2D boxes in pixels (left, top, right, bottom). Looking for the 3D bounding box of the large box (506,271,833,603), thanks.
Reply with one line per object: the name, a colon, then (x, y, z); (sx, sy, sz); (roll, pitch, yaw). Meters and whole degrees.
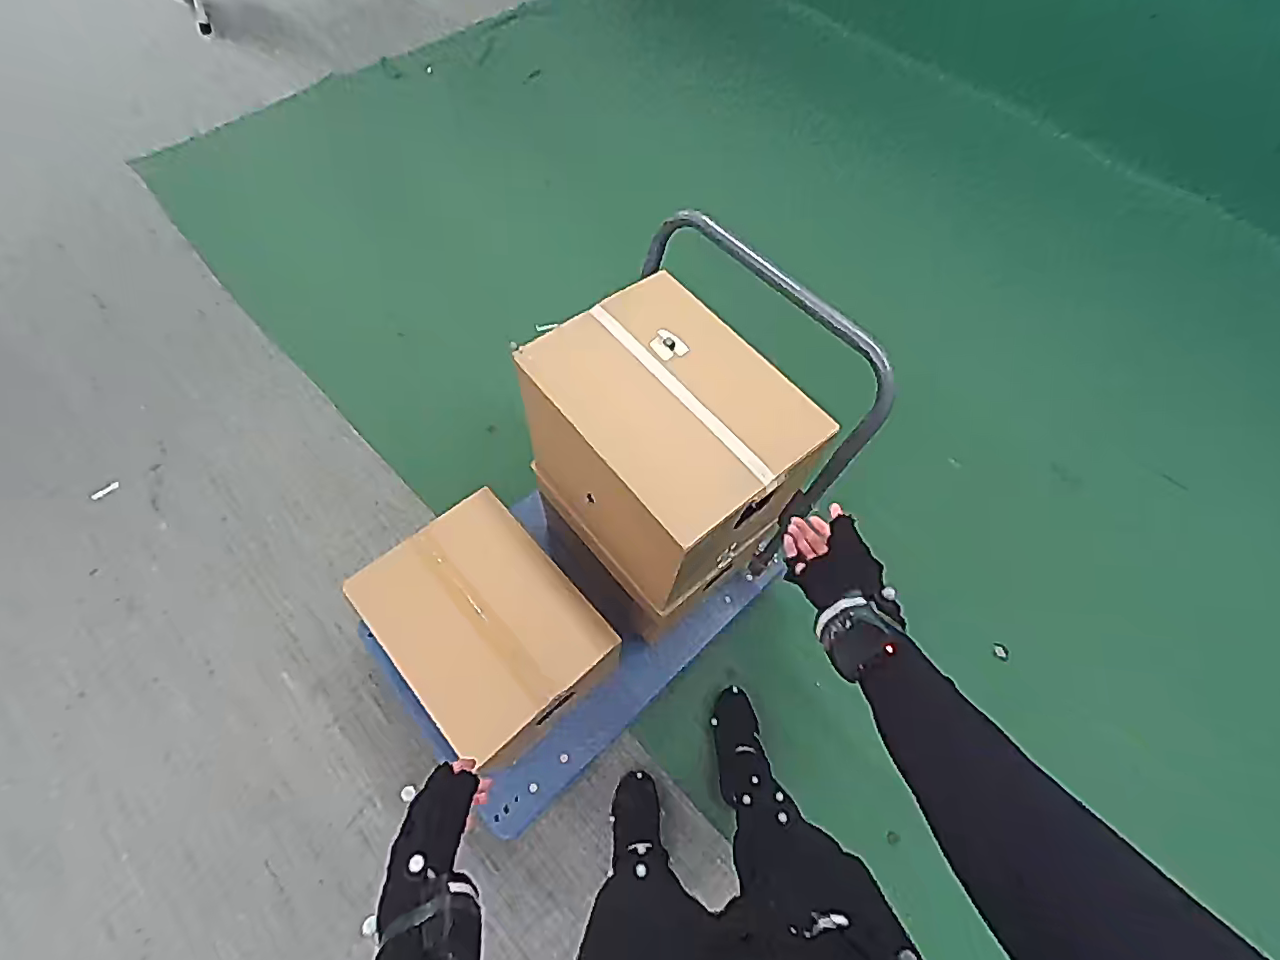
large box: (0.035, -0.065, 0.927); (0.320, 0.320, 0.408); (-35, 69, -20)
